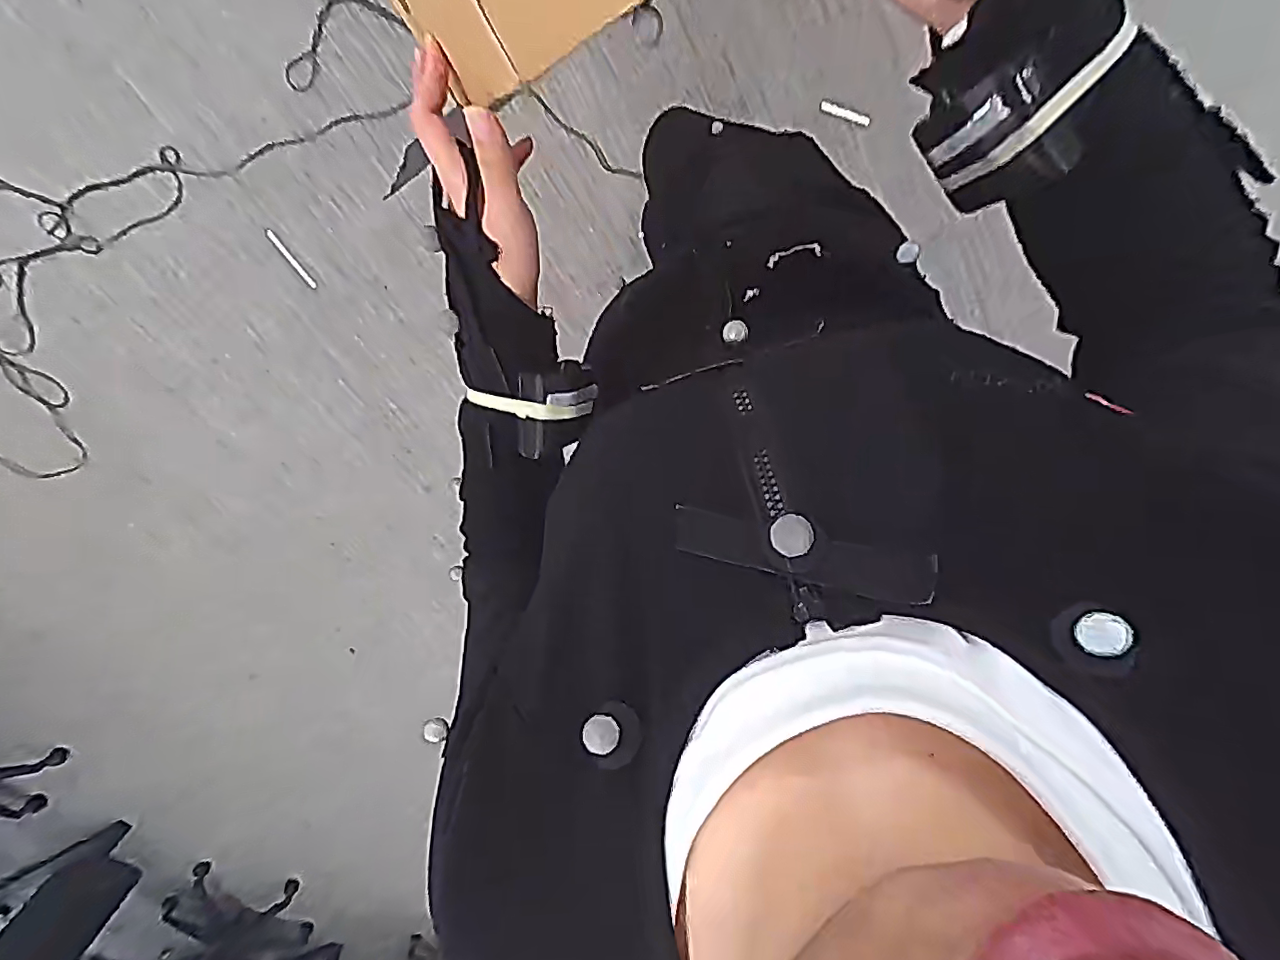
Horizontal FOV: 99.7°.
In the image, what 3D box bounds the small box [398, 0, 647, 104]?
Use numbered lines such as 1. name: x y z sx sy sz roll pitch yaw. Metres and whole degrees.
1. small box: -0.048 -0.306 0.243 0.179 0.176 0.168 -37 127 -2
